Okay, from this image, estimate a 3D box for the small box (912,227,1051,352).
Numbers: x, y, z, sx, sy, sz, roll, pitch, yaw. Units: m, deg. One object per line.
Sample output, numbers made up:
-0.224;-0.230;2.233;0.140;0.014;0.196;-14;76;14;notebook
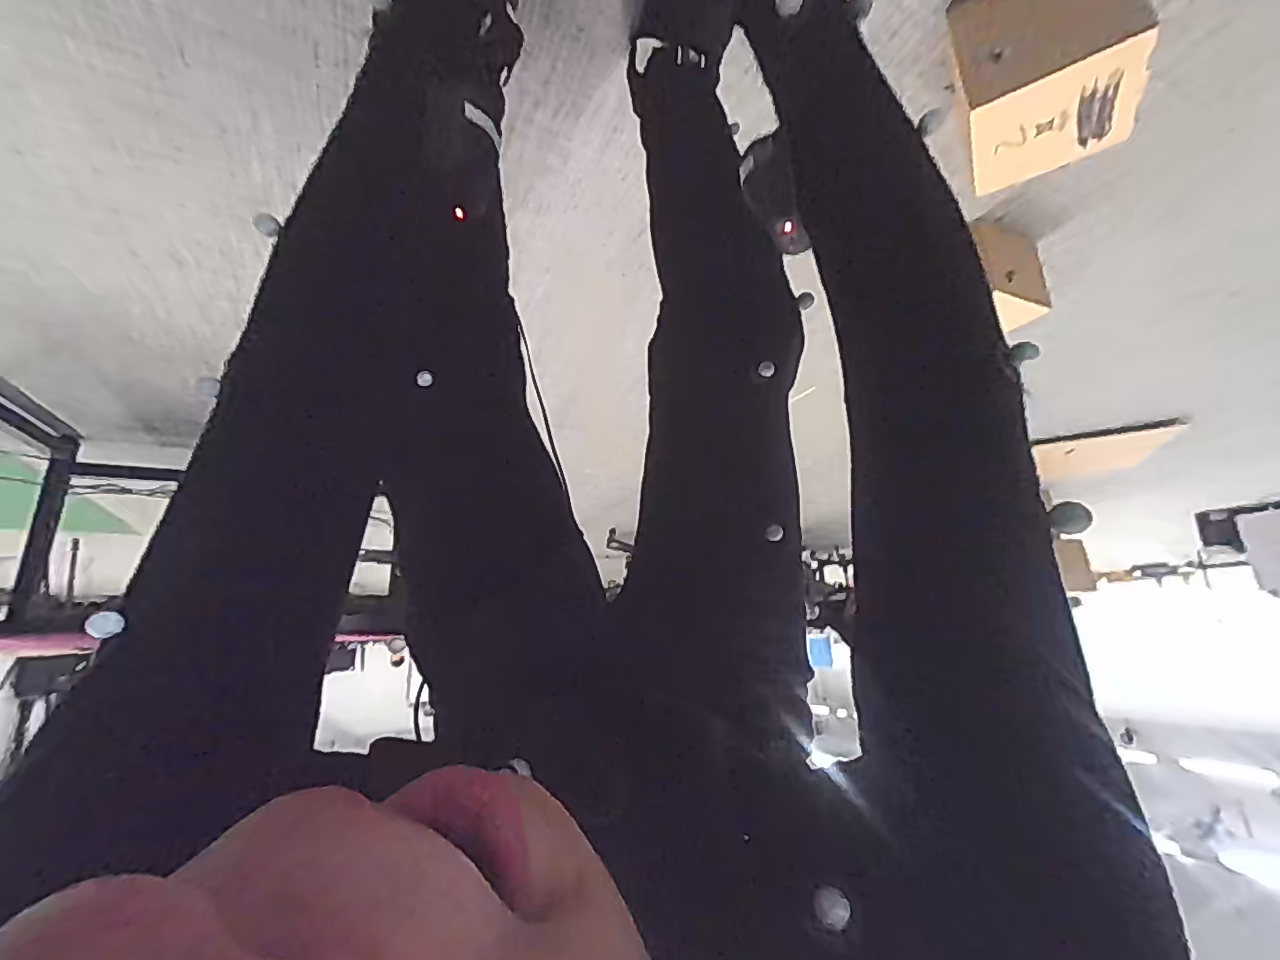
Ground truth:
0.701;-0.393;1.127;0.179;0.176;0.168;5;163;-23;small box
